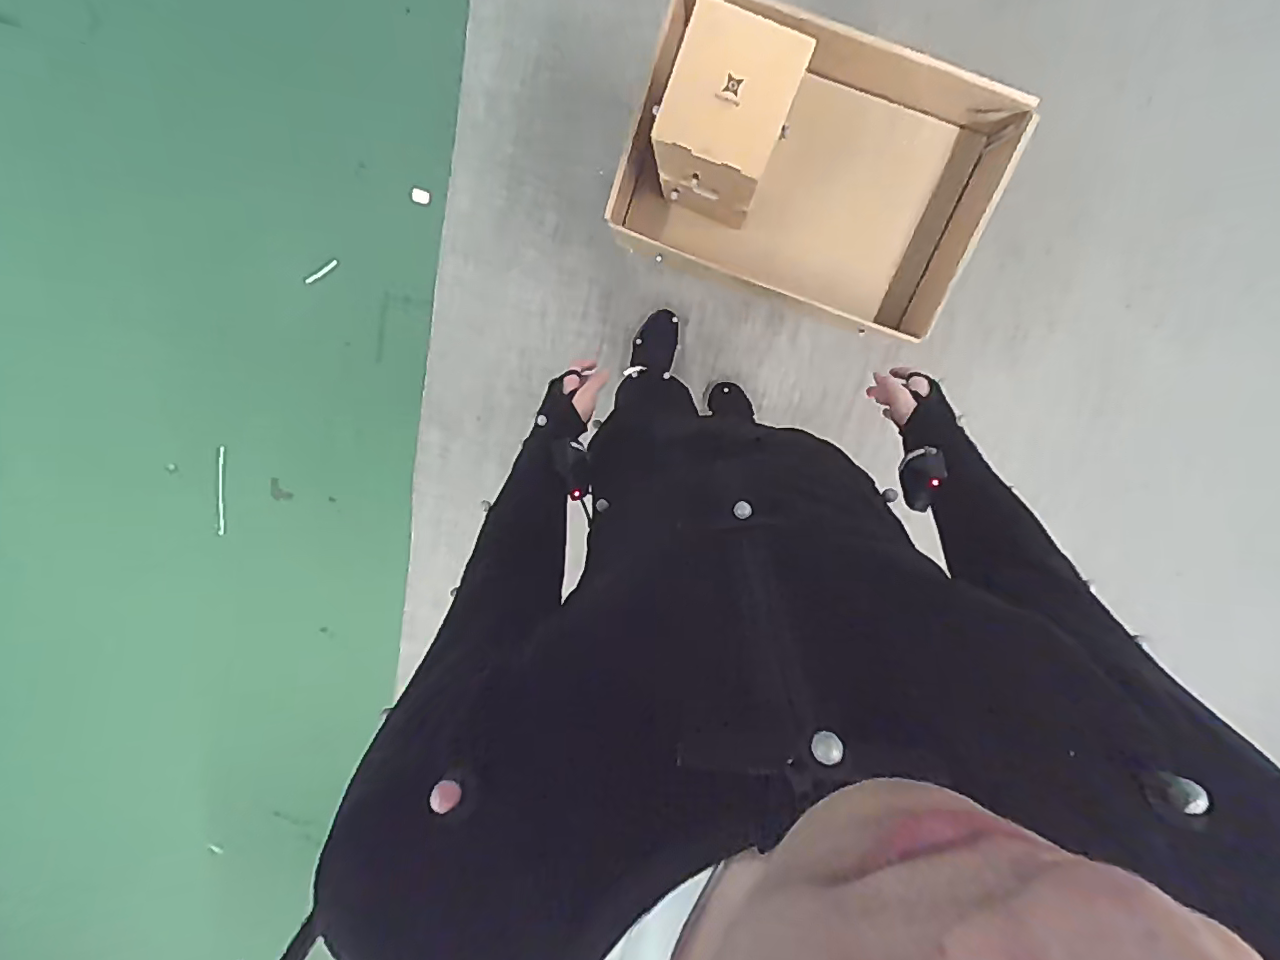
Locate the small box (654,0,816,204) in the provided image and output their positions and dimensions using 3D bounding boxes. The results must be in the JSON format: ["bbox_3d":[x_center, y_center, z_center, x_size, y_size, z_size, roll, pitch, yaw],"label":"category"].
[{"bbox_3d":[0.128,-0.538,0.794,0.168,0.176,0.179,22,107,-2],"label":"small box"}]
